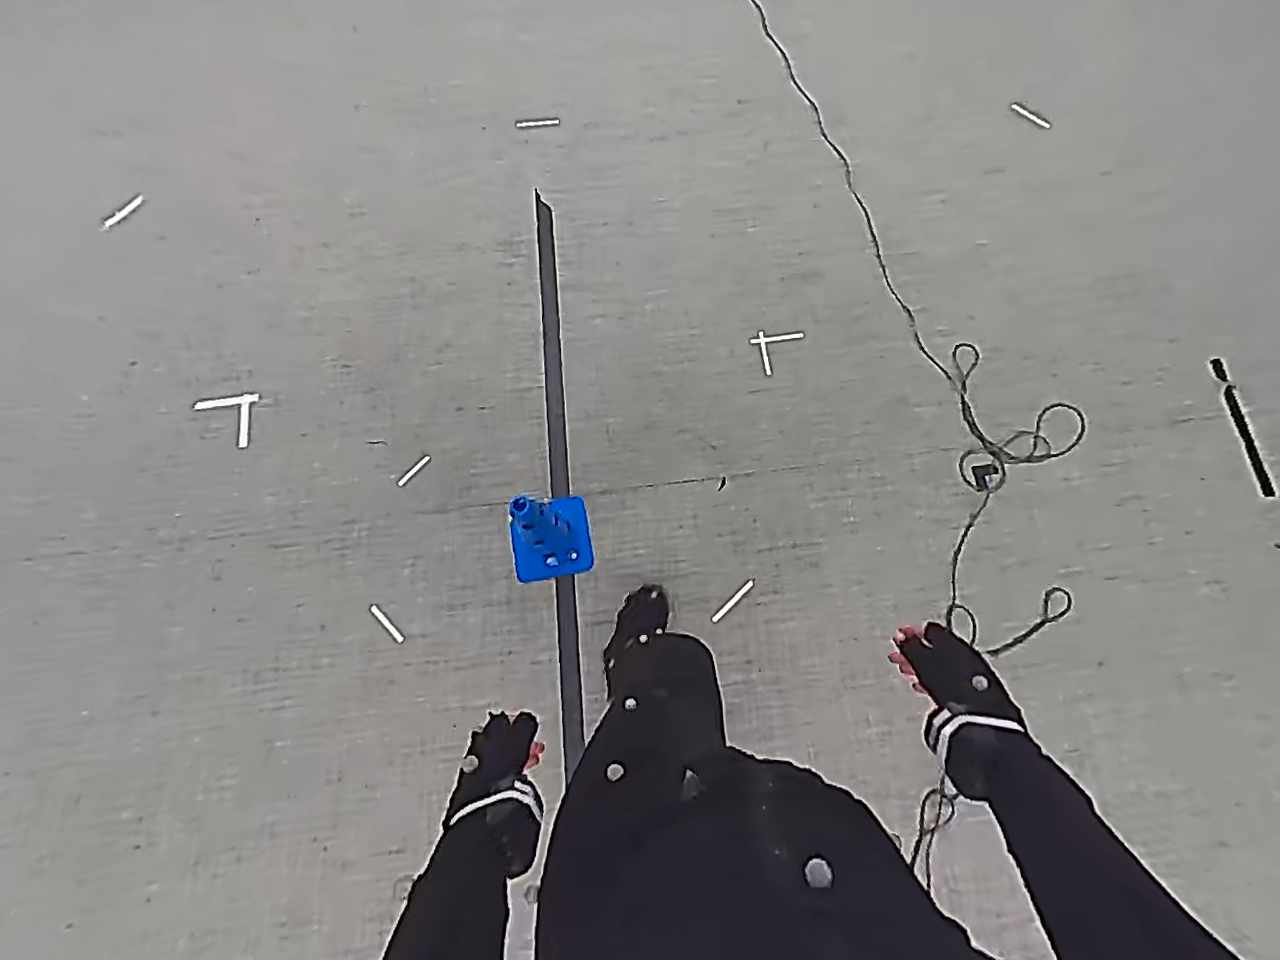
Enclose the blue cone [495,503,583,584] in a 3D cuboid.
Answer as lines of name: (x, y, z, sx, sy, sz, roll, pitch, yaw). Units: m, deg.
blue cone: (-0.251, 0.112, 1.232, 0.192, 0.380, 0.193, -10, 73, -1)
